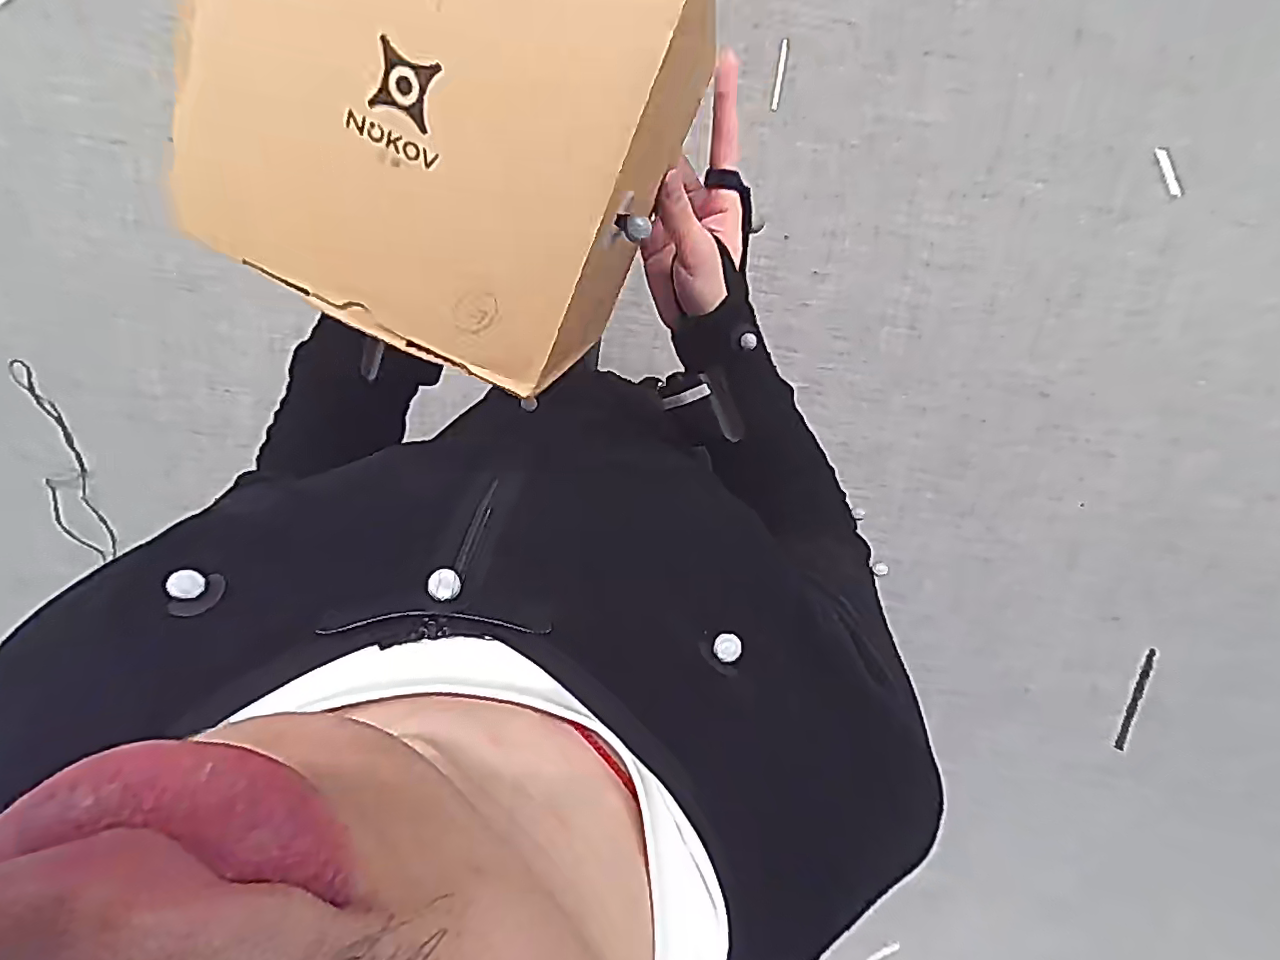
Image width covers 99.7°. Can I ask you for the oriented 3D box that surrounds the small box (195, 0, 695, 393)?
[{"bbox_3d":[-0.077,-0.176,0.279,0.168,0.176,0.179,25,116,-5],"label":"small box"}]
